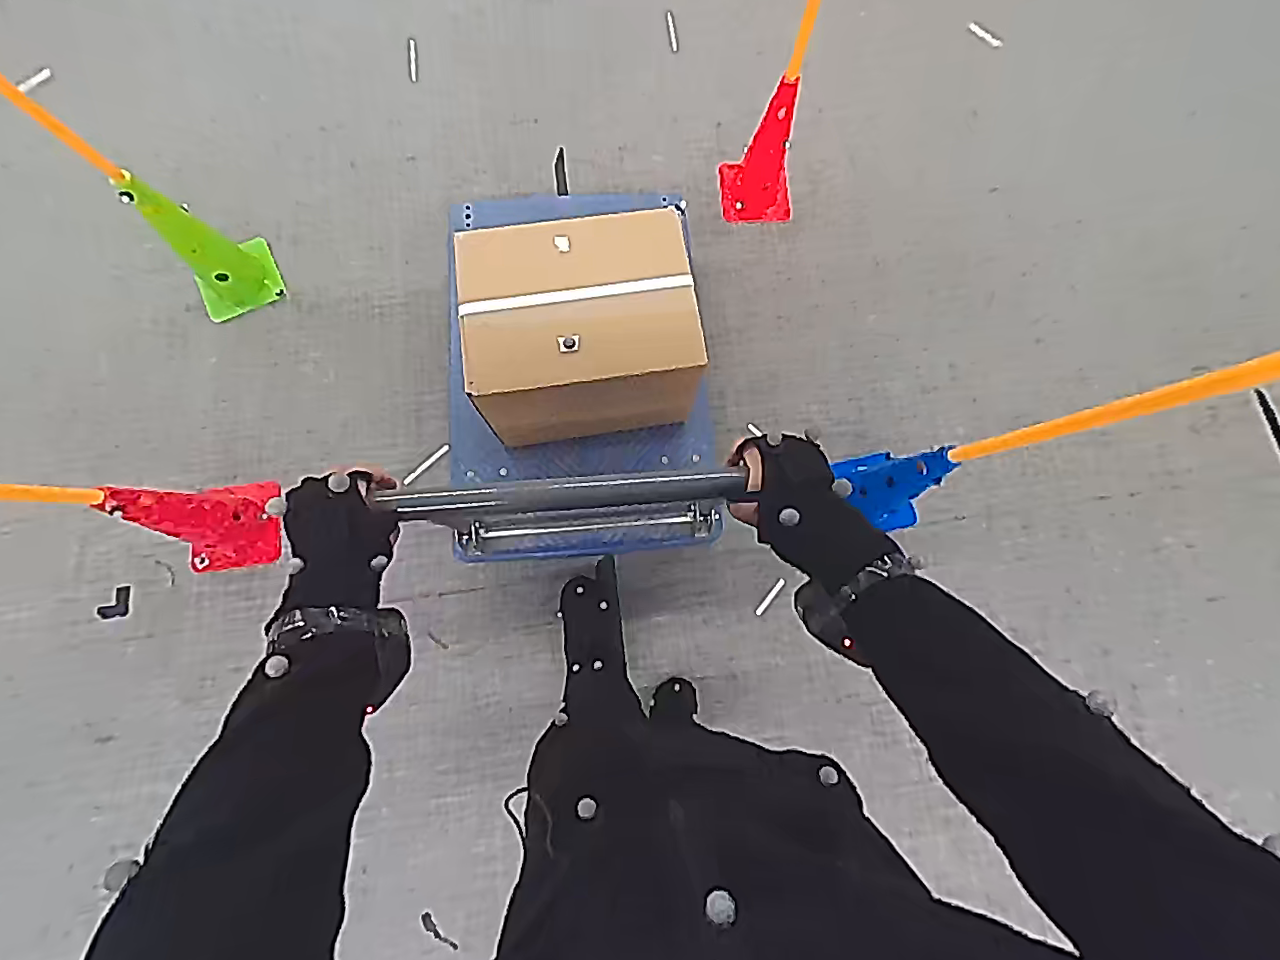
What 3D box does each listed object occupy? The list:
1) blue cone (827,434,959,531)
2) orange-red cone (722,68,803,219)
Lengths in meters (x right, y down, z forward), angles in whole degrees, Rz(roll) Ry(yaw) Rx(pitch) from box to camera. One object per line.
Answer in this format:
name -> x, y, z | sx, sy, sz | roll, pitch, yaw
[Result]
blue cone -> 0.588, -0.014, 1.204 | 0.193, 0.380, 0.192 | -11, 76, -5
orange-red cone -> 0.344, -0.873, 1.384 | 0.199, 0.360, 0.198 | 0, 77, -3
